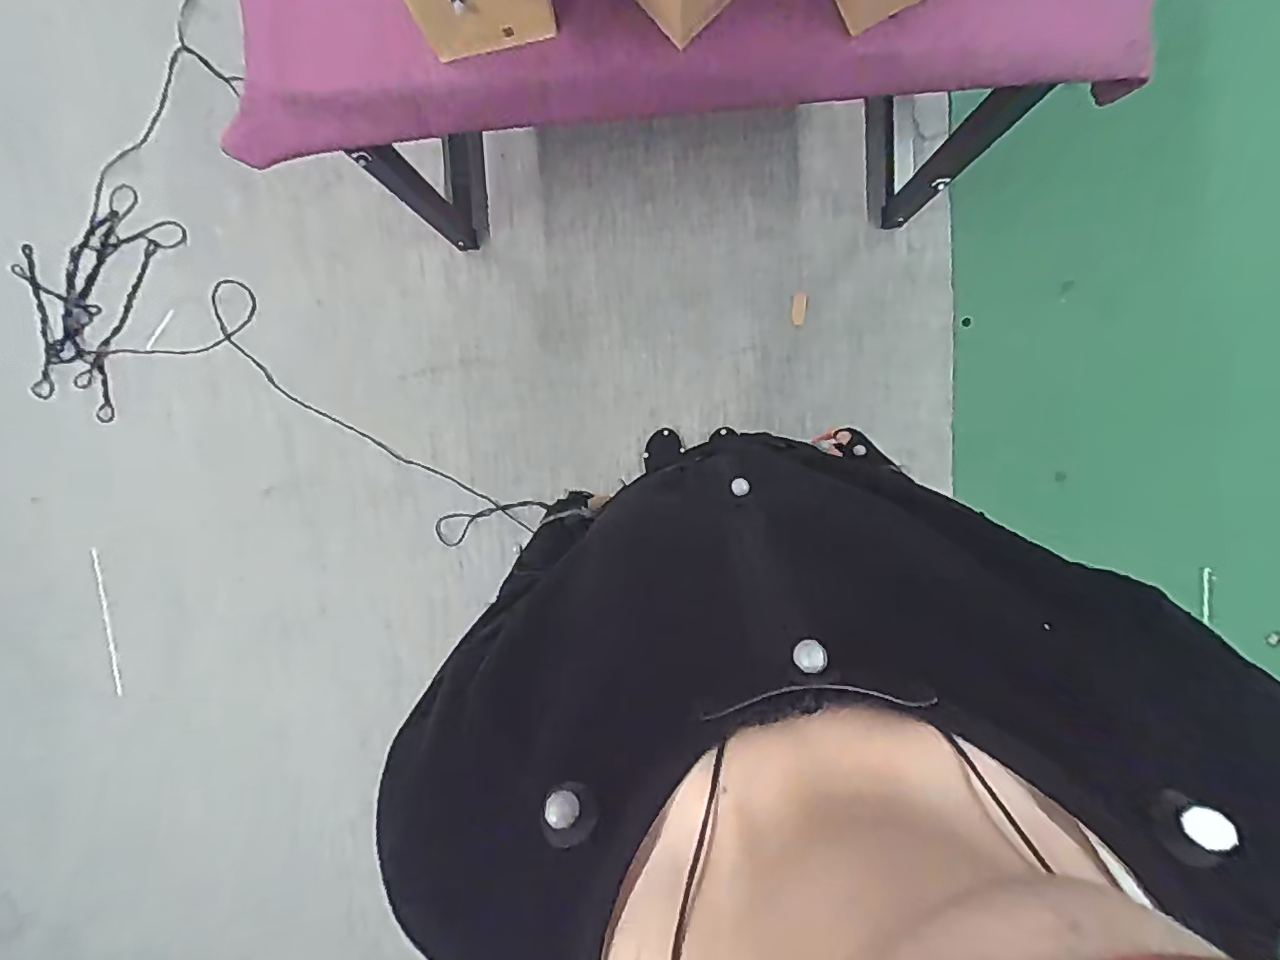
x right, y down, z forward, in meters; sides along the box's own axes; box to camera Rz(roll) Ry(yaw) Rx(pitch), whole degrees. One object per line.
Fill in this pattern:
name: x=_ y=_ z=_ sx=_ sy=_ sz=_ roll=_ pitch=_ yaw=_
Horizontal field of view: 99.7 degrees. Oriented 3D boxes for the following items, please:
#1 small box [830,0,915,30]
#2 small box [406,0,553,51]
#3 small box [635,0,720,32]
small box: x=0.312 y=-0.689 z=0.622 sx=0.179 sy=0.176 sz=0.168 roll=-25 pitch=91 yaw=5
small box: x=-0.213 y=-0.666 z=0.654 sx=0.168 sy=0.176 sz=0.179 roll=-10 pitch=93 yaw=4
small box: x=0.050 y=-0.688 z=0.635 sx=0.168 sy=0.176 sz=0.179 roll=-40 pitch=91 yaw=5
